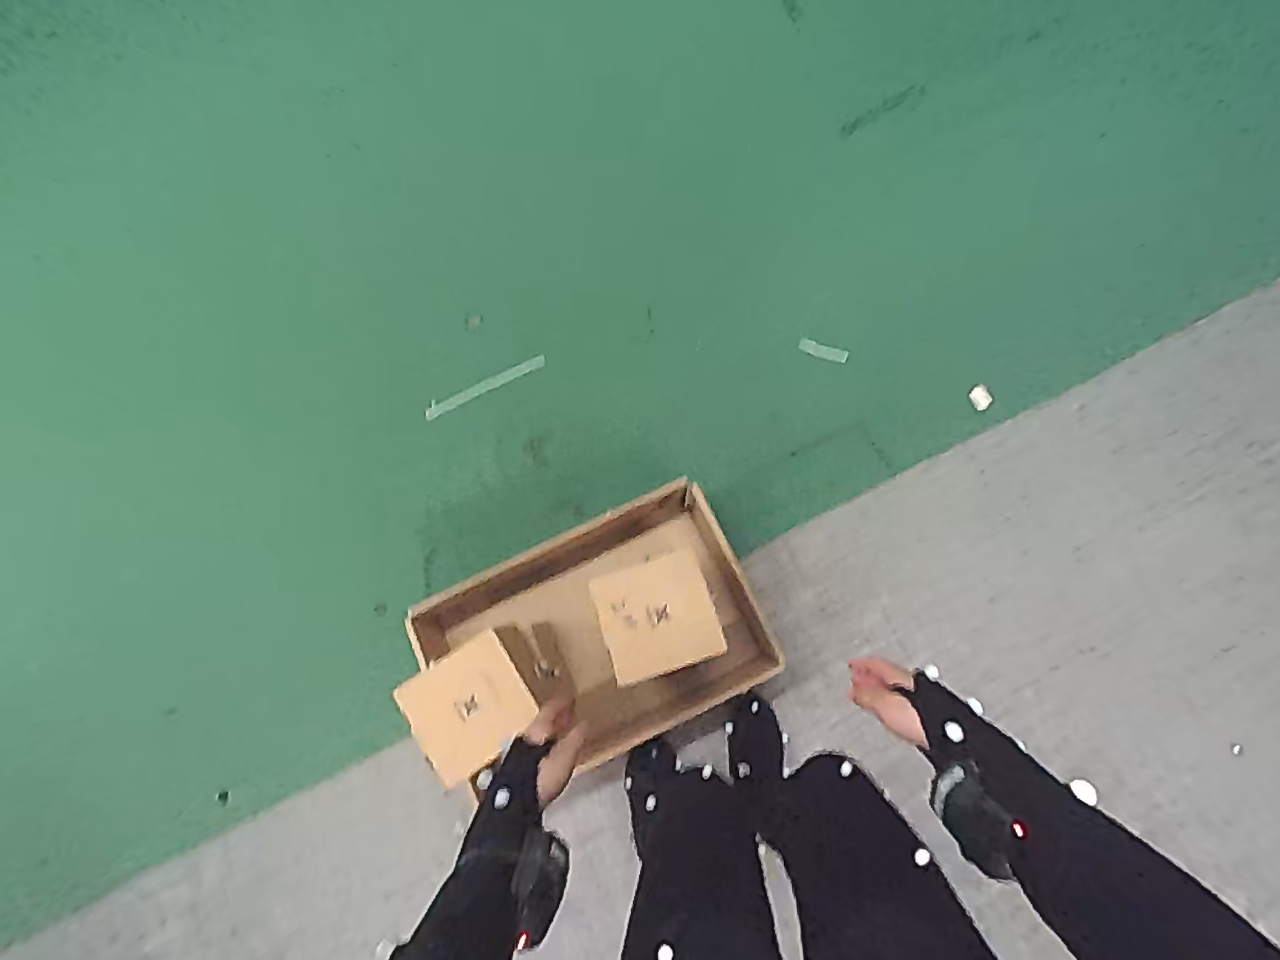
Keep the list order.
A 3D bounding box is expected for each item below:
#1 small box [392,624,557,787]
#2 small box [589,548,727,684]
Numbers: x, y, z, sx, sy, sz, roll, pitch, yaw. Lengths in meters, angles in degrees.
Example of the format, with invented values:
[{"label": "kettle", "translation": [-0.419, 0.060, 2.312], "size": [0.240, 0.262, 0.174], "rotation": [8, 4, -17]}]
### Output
[{"label": "small box", "translation": [-0.255, 0.351, 0.878], "size": [0.179, 0.176, 0.168], "rotation": [-33, 80, -7]}, {"label": "small box", "translation": [0.027, 0.220, 0.901], "size": [0.179, 0.176, 0.168], "rotation": [-18, 78, -1]}]
